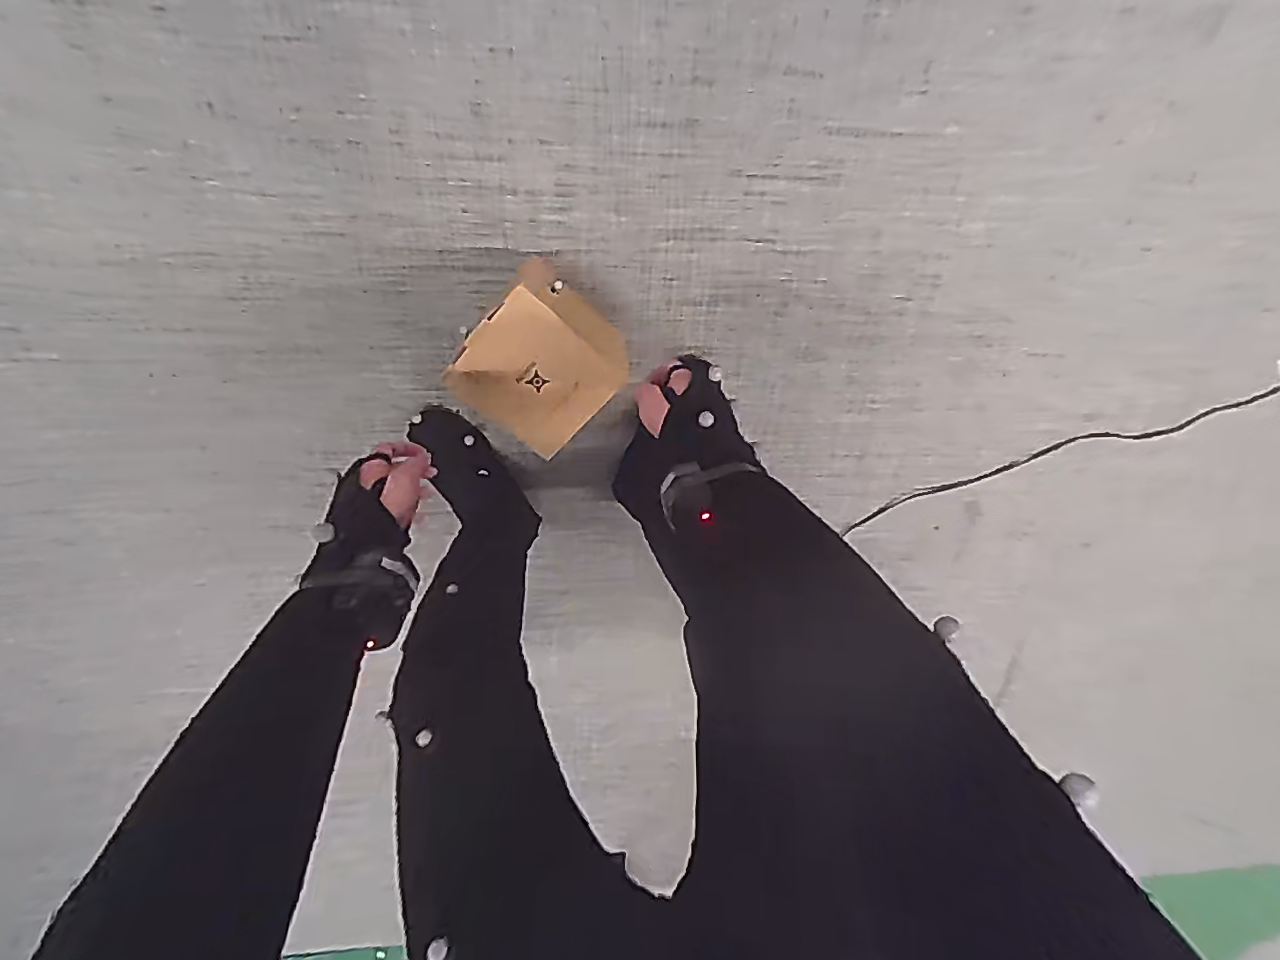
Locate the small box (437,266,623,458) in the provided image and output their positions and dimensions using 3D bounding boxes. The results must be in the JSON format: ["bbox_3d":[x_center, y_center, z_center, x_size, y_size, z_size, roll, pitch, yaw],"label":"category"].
[{"bbox_3d":[-0.145,-0.170,0.746,0.179,0.176,0.168,37,114,-27],"label":"small box"}]
